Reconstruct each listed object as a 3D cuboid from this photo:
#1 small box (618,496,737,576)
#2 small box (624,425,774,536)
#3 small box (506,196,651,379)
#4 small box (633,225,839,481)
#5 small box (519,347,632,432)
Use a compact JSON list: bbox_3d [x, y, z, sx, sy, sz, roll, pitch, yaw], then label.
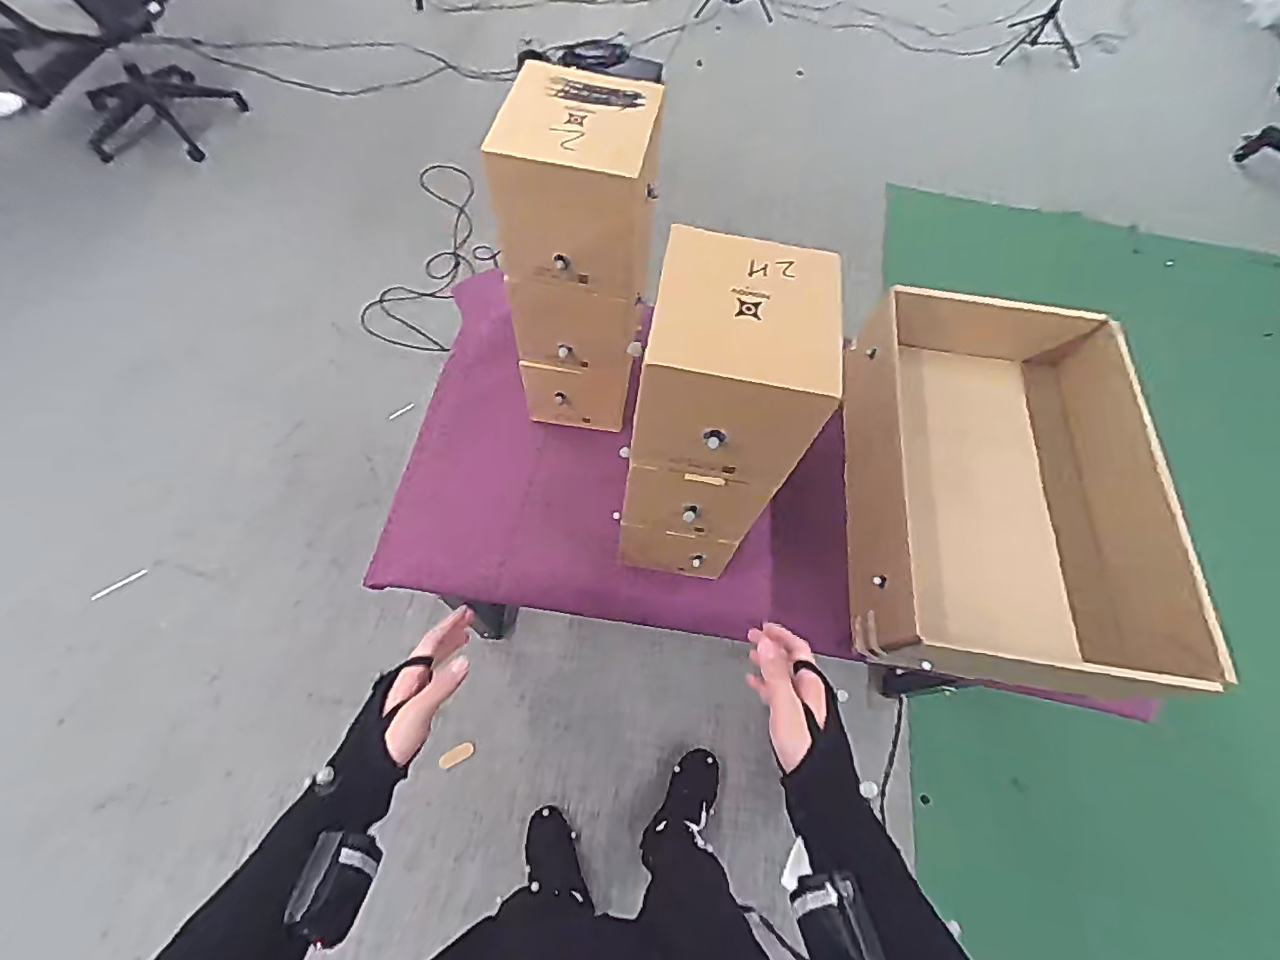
[{"bbox_3d":[0.059,0.036,0.840,0.168,0.176,0.179,10,61,0],"label":"small box"},{"bbox_3d":[0.073,-0.043,0.697,0.168,0.176,0.179,9,63,-1],"label":"small box"},{"bbox_3d":[-0.085,-0.281,0.807,0.168,0.176,0.179,12,63,2],"label":"small box"},{"bbox_3d":[0.089,-0.119,0.550,0.168,0.176,0.179,11,62,0],"label":"small box"},{"bbox_3d":[-0.104,-0.204,0.951,0.168,0.176,0.179,8,62,0],"label":"small box"}]
